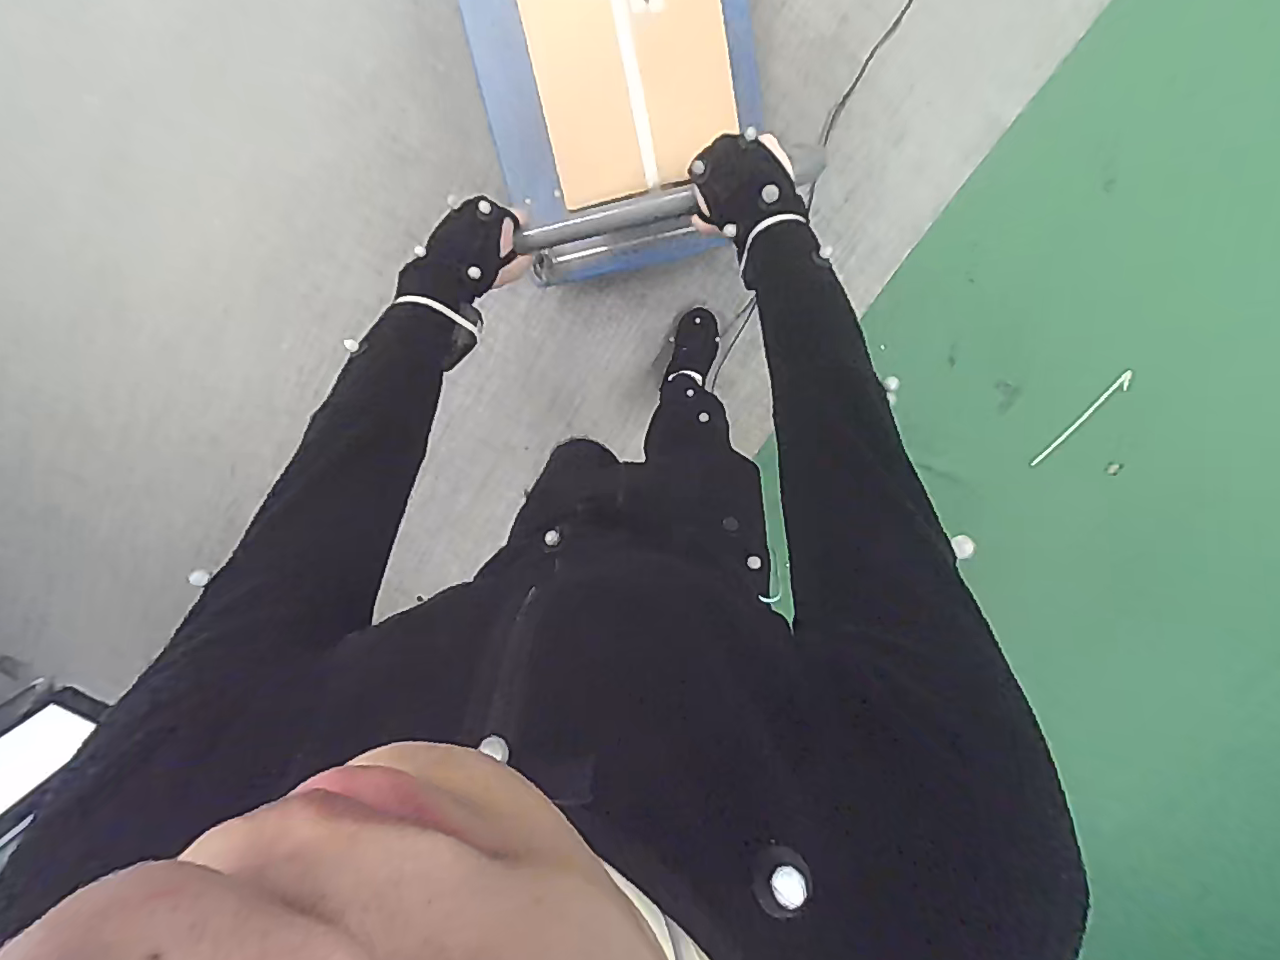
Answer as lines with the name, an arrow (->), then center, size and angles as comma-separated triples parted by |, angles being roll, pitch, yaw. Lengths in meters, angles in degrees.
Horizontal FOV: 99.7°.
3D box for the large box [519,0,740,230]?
large box -> -0.005, -0.740, 1.028 | 0.320, 0.320, 0.408 | -10, 108, 9
